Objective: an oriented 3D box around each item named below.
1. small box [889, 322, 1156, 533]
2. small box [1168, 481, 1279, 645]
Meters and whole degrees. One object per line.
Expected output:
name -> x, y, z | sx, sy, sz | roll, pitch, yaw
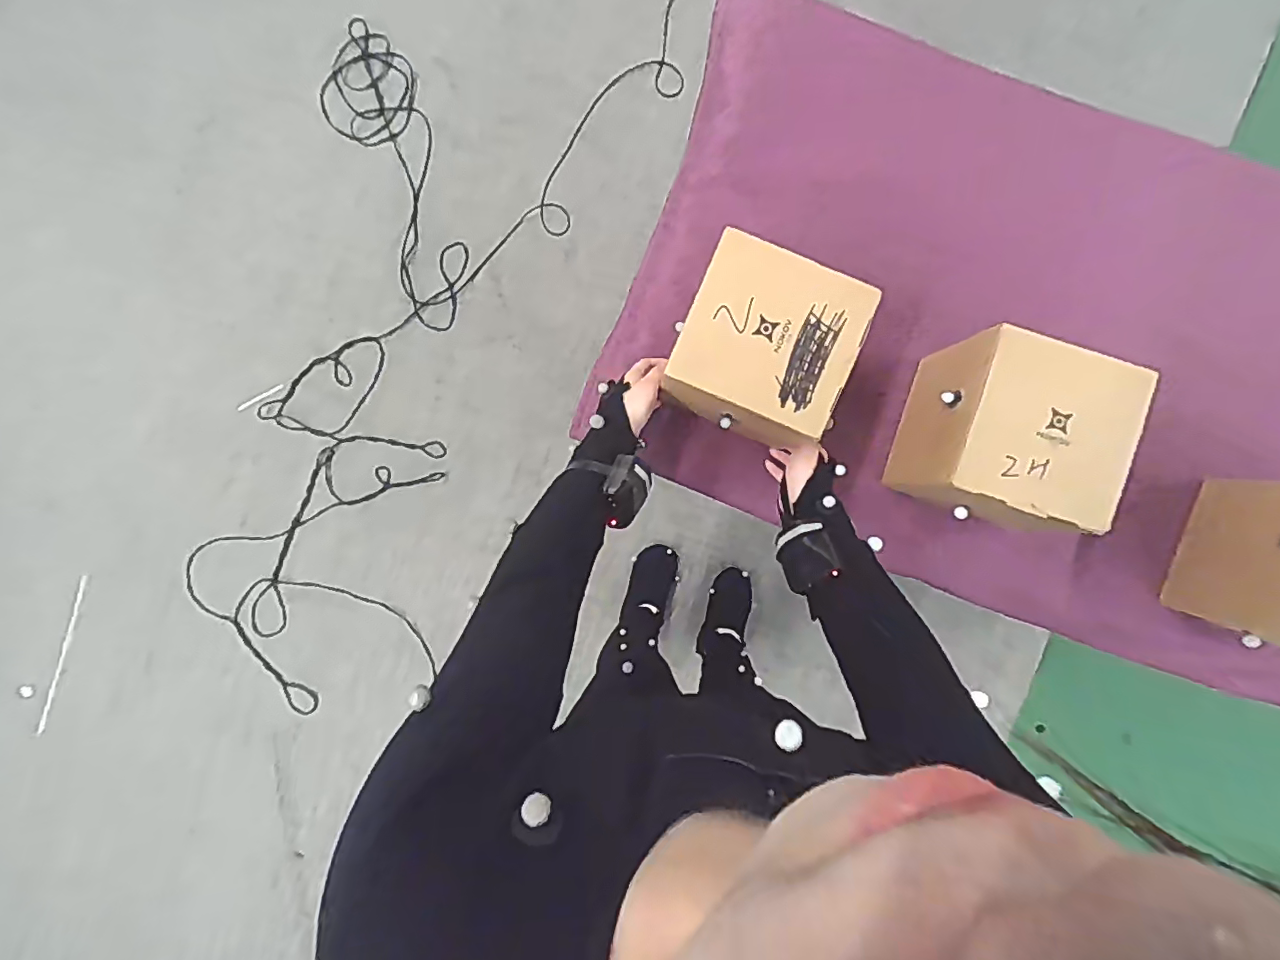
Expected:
small box -> 0.417, -0.052, 0.623 | 0.168, 0.176, 0.179 | 18, 90, 1
small box -> 0.779, 0.106, 0.621 | 0.168, 0.176, 0.179 | 19, 91, 1
